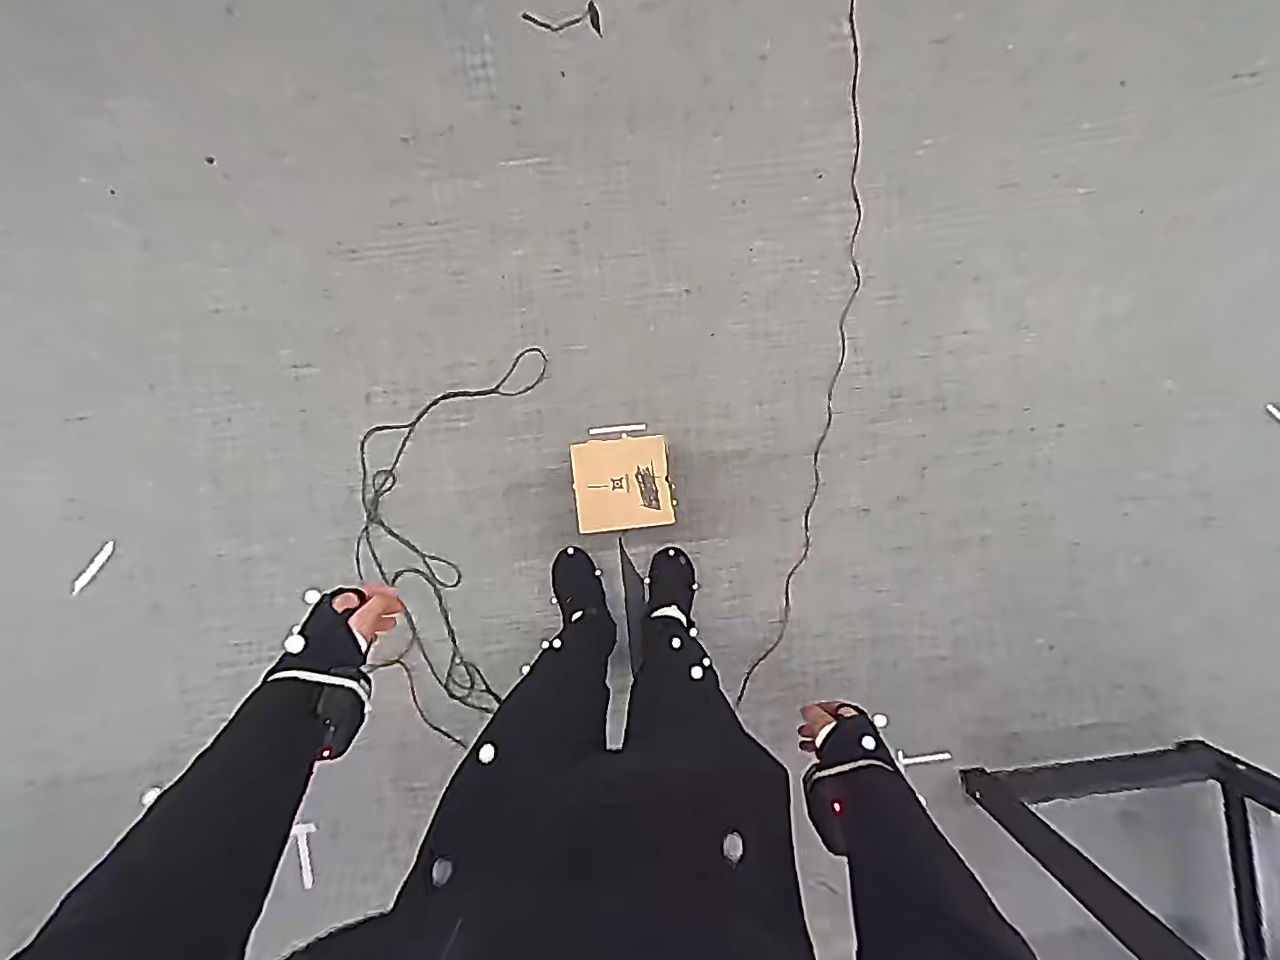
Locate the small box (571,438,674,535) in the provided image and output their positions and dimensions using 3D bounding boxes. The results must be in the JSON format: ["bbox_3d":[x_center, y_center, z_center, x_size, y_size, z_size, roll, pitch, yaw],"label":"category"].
[{"bbox_3d":[-0.032,0.010,1.064,0.179,0.176,0.168,-7,89,1],"label":"small box"}]
